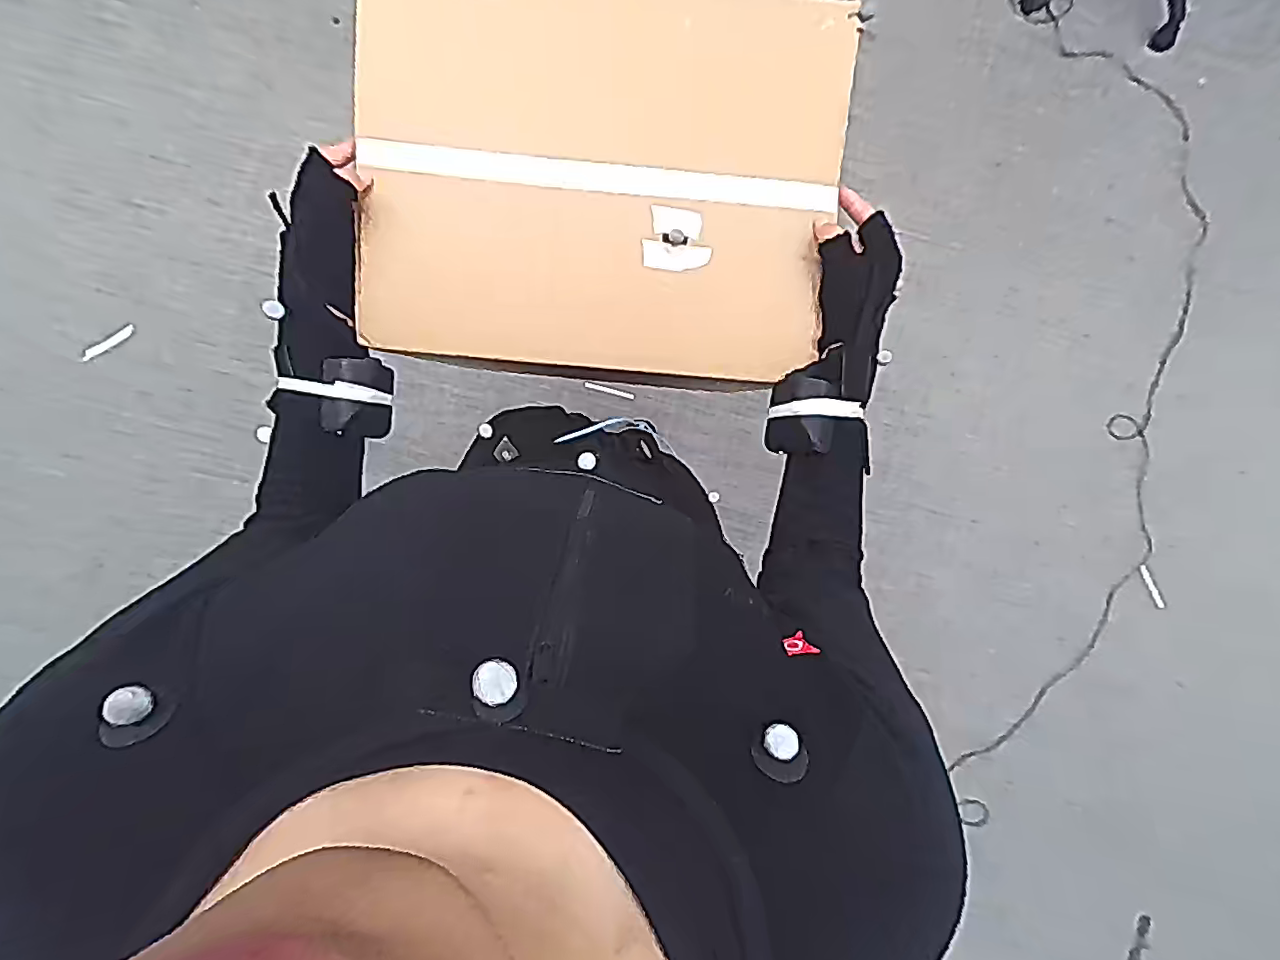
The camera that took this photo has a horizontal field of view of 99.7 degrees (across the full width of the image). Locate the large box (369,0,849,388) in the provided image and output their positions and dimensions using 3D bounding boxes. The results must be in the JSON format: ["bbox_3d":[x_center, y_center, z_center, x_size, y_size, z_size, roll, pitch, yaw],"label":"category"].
[{"bbox_3d":[-0.039,-0.277,0.614,0.408,0.320,0.320,5,99,-4],"label":"large box"}]
